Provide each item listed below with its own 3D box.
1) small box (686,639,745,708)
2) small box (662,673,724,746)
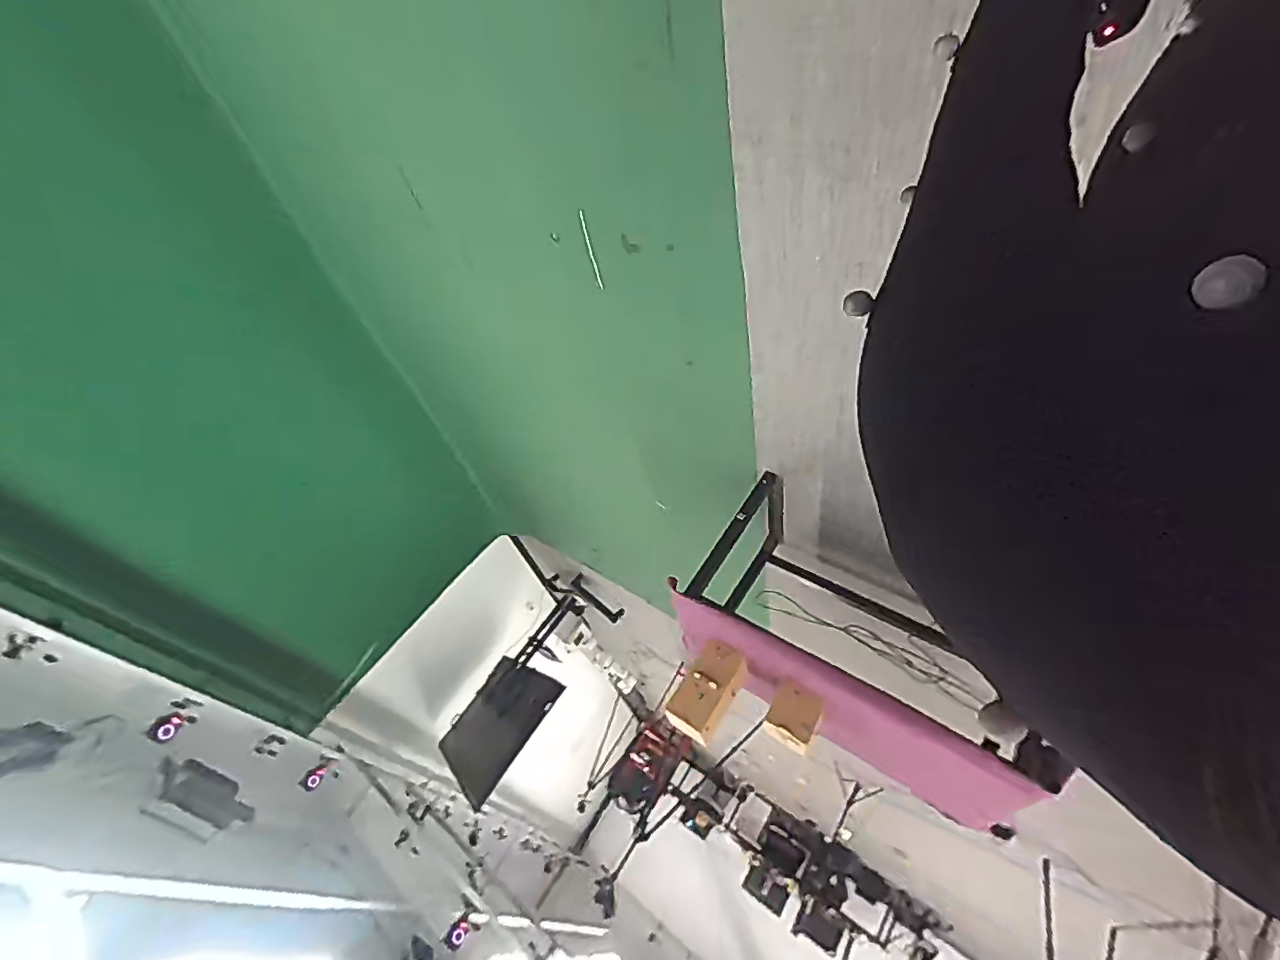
[{"bbox_3d":[0.305,0.766,2.149,0.168,0.176,0.179,21,148,31],"label":"small box"},{"bbox_3d":[0.211,0.881,2.081,0.168,0.176,0.179,22,148,31],"label":"small box"}]
